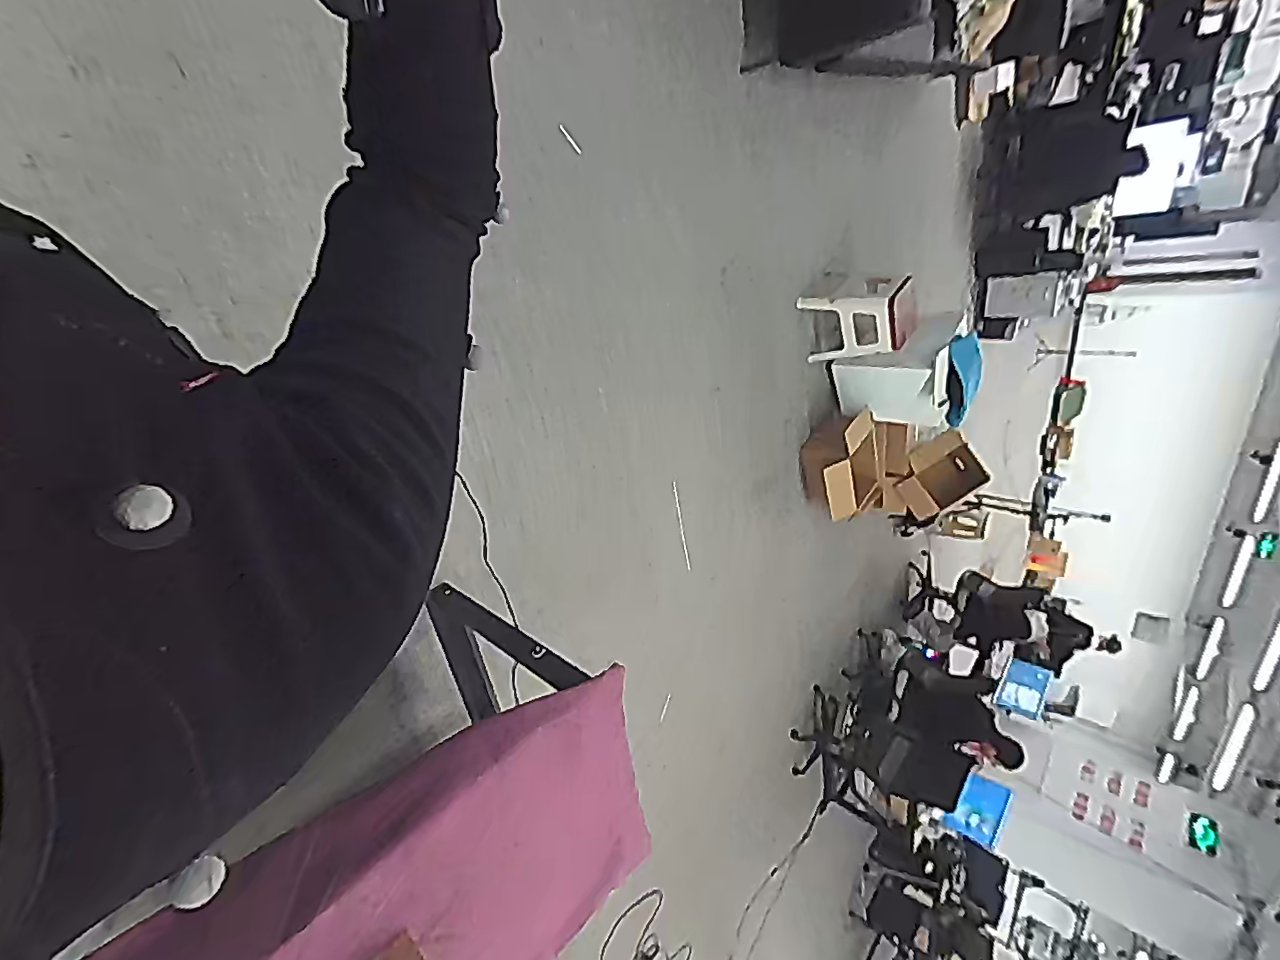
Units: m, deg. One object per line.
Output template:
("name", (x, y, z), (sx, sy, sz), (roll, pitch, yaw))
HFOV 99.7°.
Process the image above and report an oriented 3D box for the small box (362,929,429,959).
("small box", (-0.392, 0.879, 0.855), (0.168, 0.176, 0.179), (-26, 118, -41))
